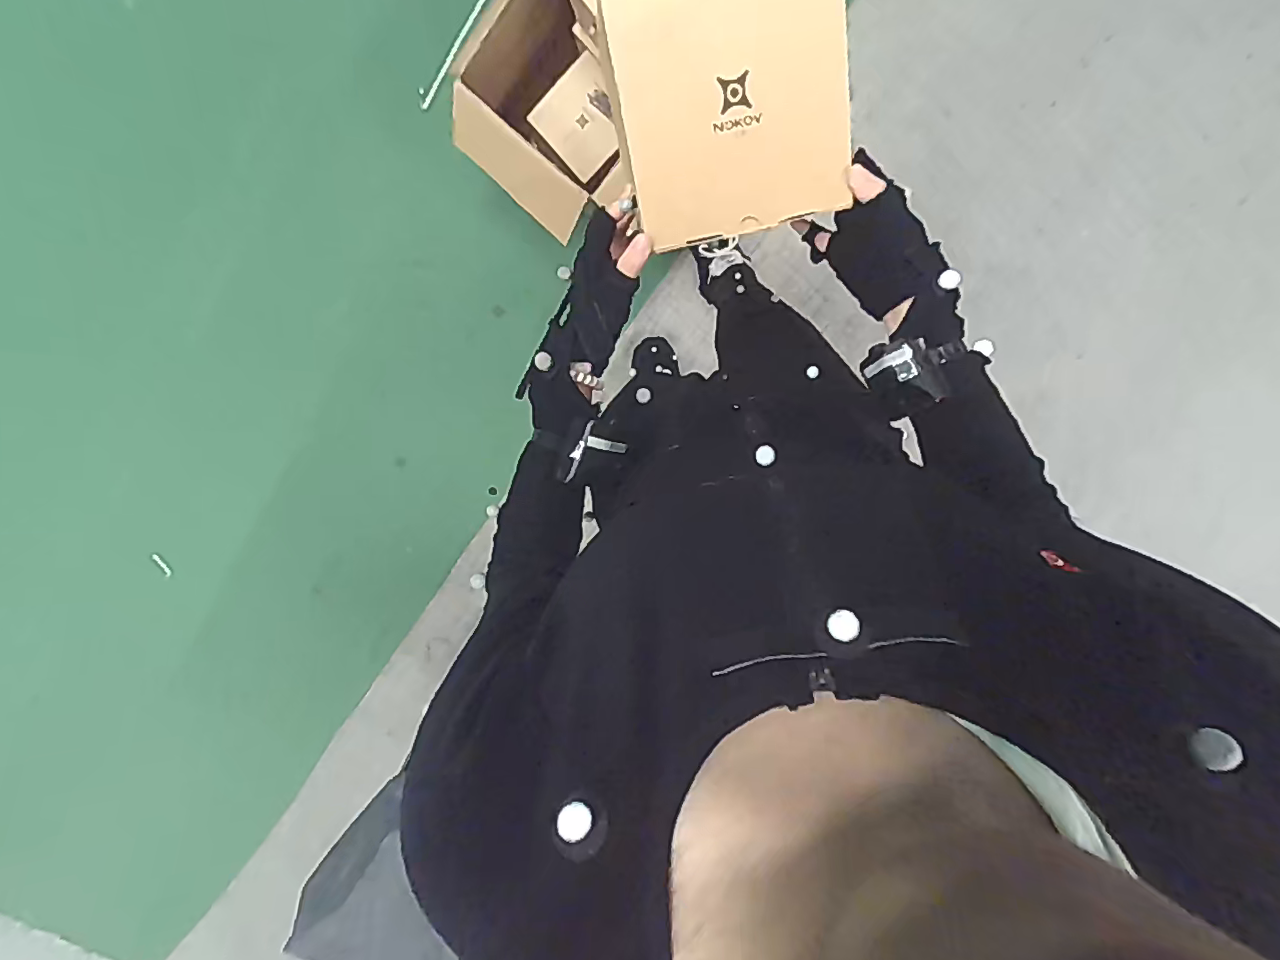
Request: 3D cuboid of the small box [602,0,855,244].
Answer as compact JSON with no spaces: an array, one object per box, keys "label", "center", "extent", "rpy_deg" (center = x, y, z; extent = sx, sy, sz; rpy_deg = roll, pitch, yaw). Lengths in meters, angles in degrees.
[{"label":"small box","center":[0.064,-0.312,0.459],"extent":[0.168,0.176,0.179],"rpy_deg":[-13,116,2]}]
